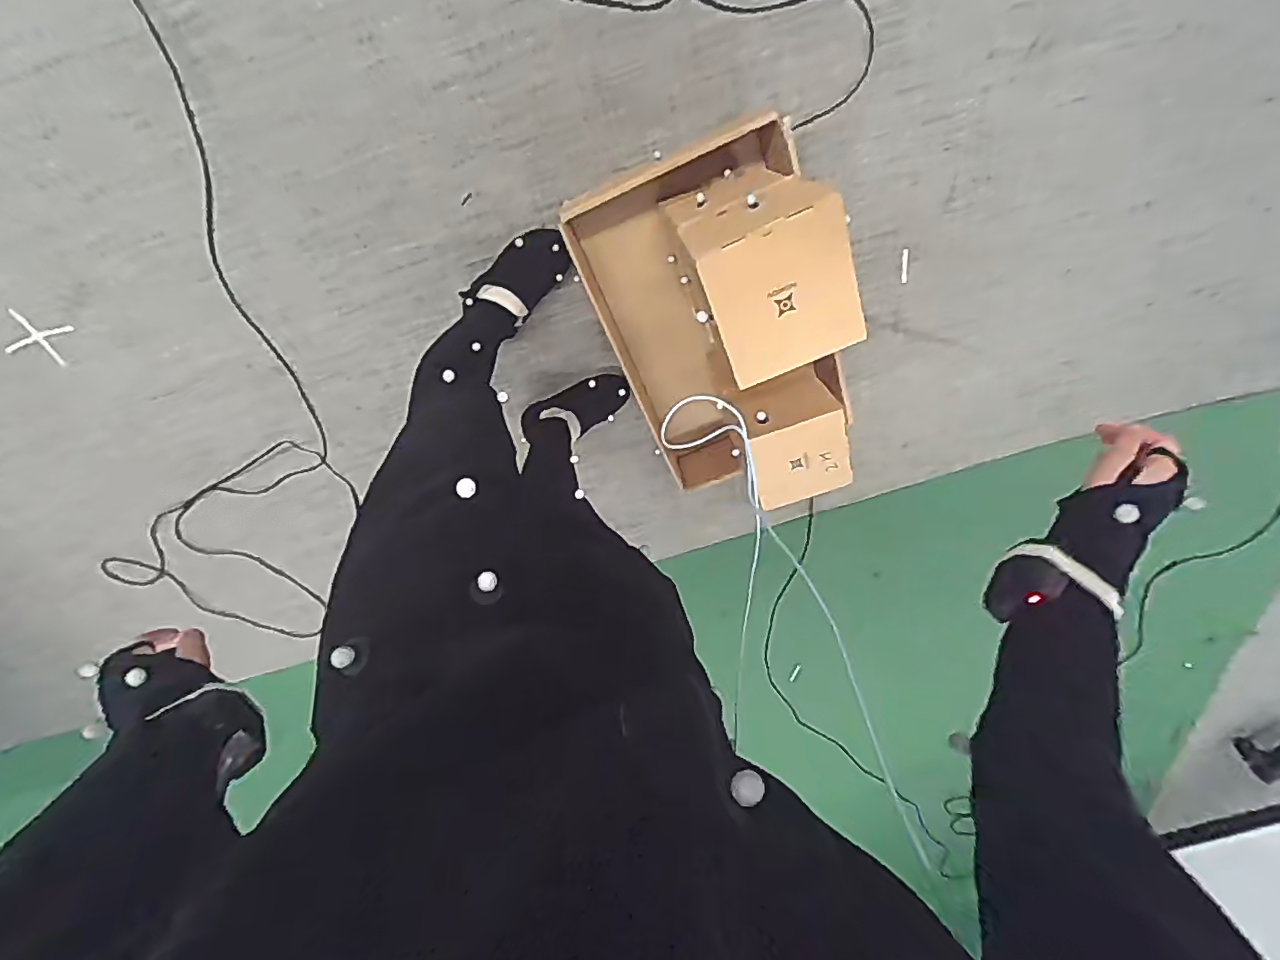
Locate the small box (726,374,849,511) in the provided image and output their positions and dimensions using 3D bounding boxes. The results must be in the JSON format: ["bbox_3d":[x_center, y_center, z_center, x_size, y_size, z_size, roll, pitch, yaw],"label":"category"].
[{"bbox_3d":[0.269,-0.074,1.016,0.179,0.176,0.168,-19,124,5],"label":"small box"}]

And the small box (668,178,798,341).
[{"bbox_3d":[0.148,-0.343,0.827,0.168,0.176,0.179,-17,124,7],"label":"small box"}]

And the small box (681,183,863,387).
[{"bbox_3d":[0.162,-0.254,0.693,0.168,0.176,0.179,-21,122,10],"label":"small box"}]

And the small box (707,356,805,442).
[{"bbox_3d":[0.250,-0.177,1.145,0.168,0.176,0.179,-18,123,6],"label":"small box"}]
